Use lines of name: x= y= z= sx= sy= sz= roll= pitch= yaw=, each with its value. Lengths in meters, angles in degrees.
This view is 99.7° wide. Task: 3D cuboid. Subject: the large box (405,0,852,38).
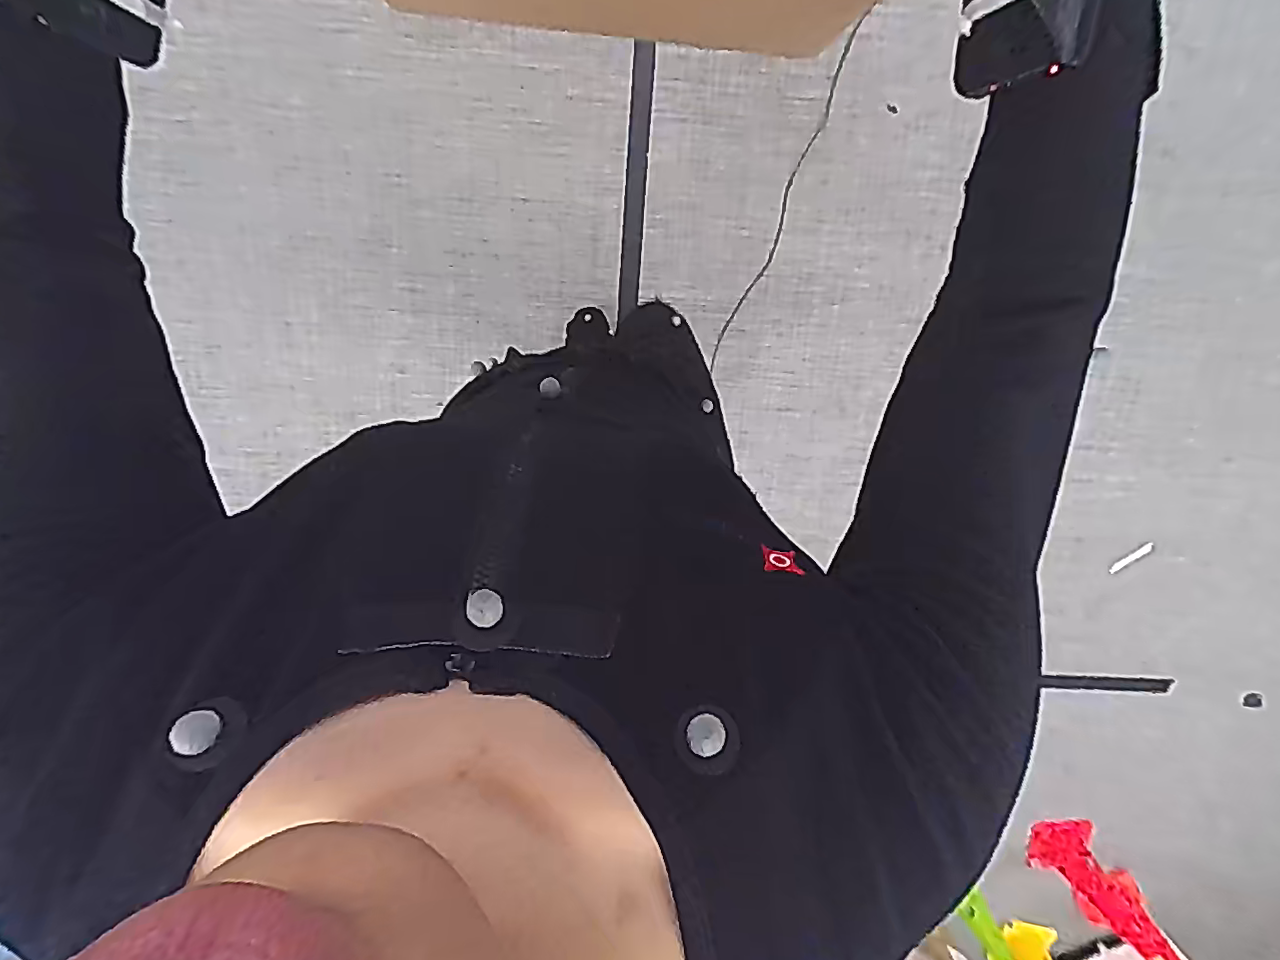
large box: x=-0.011 y=-0.506 z=0.311 sx=0.408 sy=0.320 sz=0.320 roll=3 pitch=115 yaw=-4
